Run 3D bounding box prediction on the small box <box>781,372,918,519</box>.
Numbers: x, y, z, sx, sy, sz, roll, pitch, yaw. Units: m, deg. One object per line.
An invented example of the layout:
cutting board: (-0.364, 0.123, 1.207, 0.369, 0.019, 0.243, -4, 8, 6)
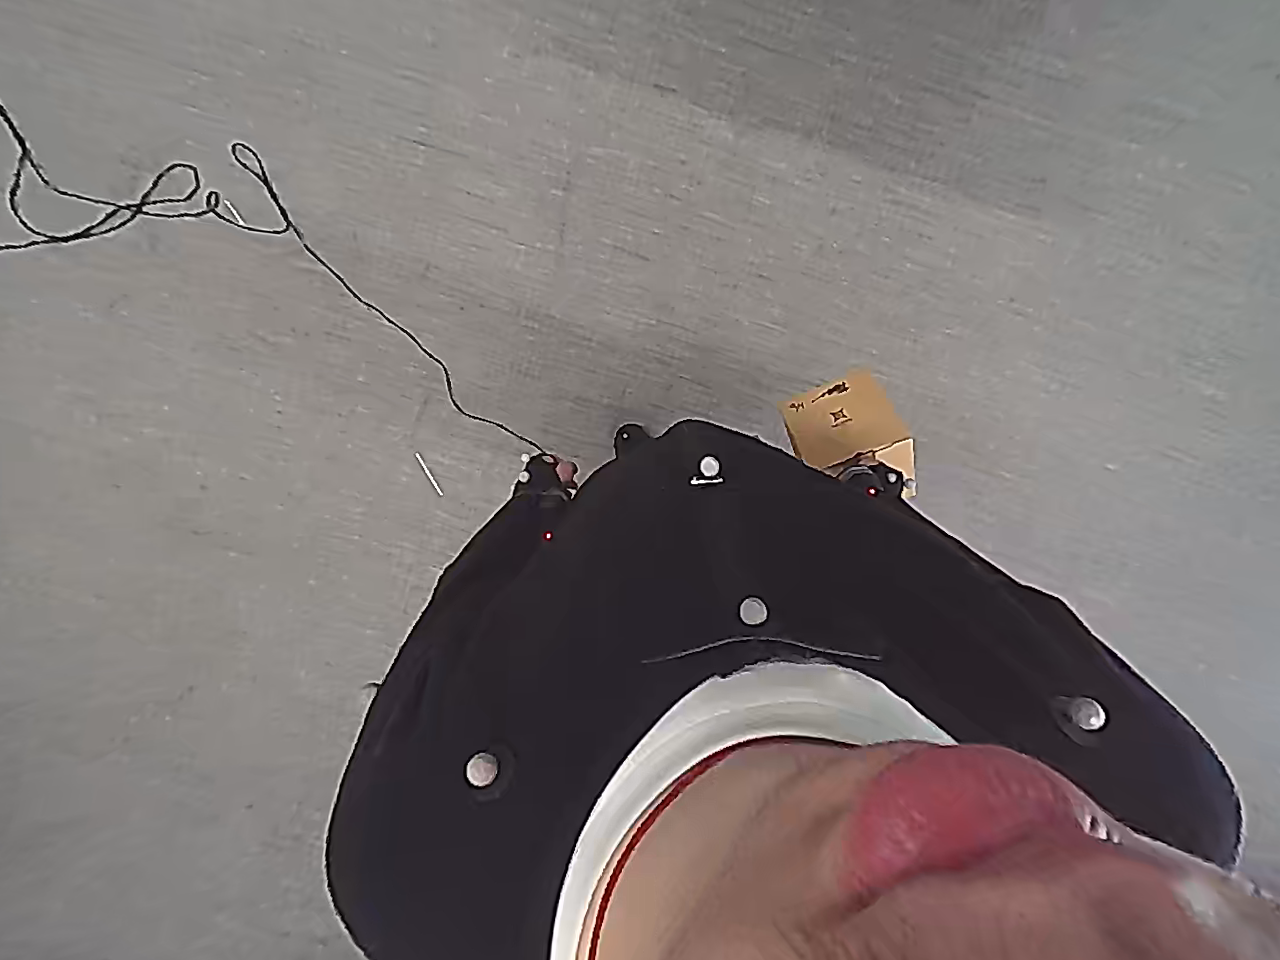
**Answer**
small box: (0.375, -0.051, 0.966, 0.168, 0.179, 0.176, -24, 138, 14)
